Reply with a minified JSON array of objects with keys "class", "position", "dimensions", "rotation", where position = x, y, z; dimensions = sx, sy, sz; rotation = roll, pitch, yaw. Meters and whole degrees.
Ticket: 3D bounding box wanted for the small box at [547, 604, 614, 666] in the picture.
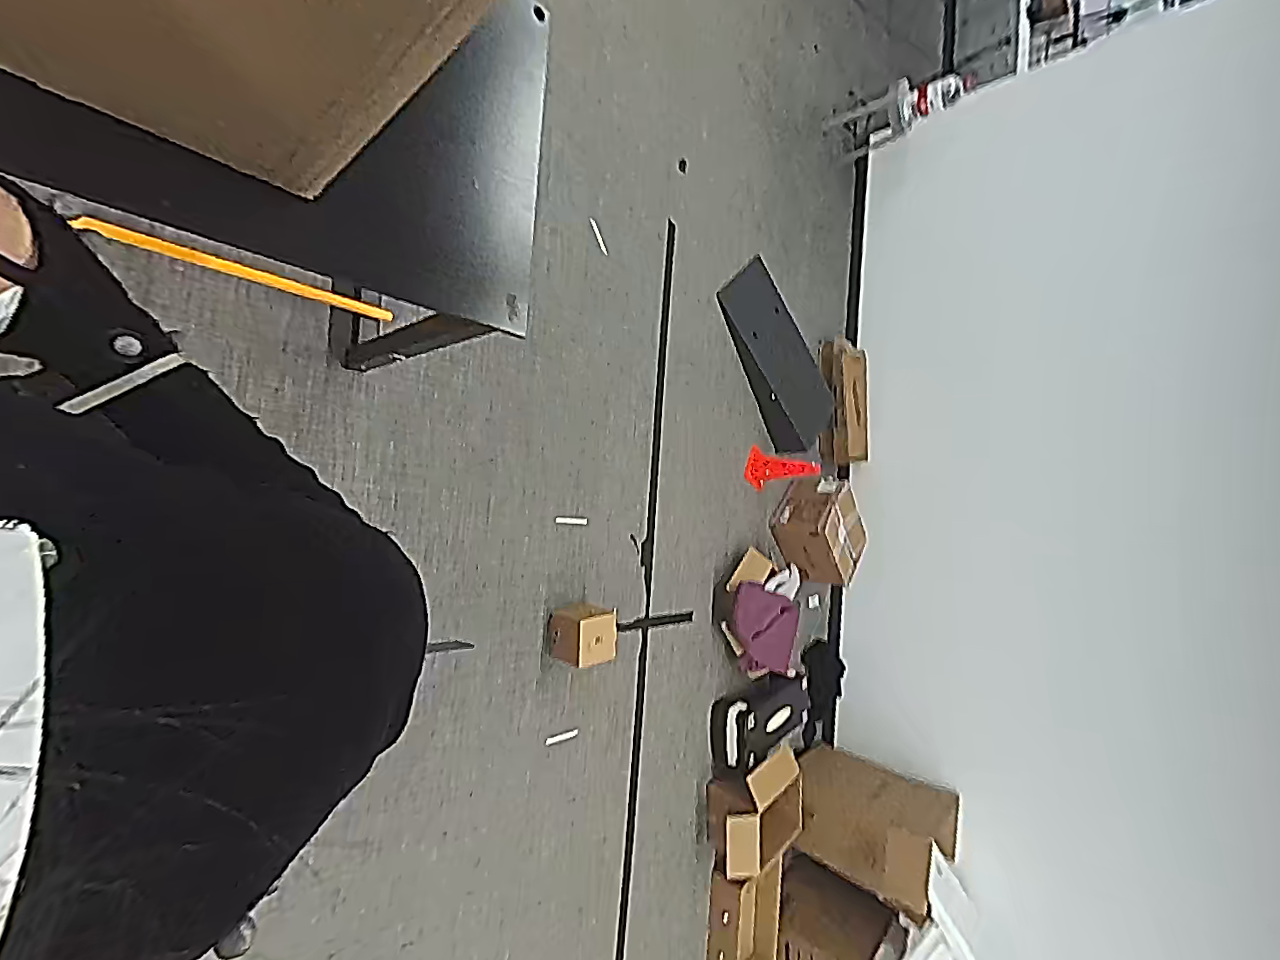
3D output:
[{"class":"small box","position":[-0.214,0.550,1.946],"dimensions":[0.179,0.176,0.168],"rotation":[0,91,-46]}]
